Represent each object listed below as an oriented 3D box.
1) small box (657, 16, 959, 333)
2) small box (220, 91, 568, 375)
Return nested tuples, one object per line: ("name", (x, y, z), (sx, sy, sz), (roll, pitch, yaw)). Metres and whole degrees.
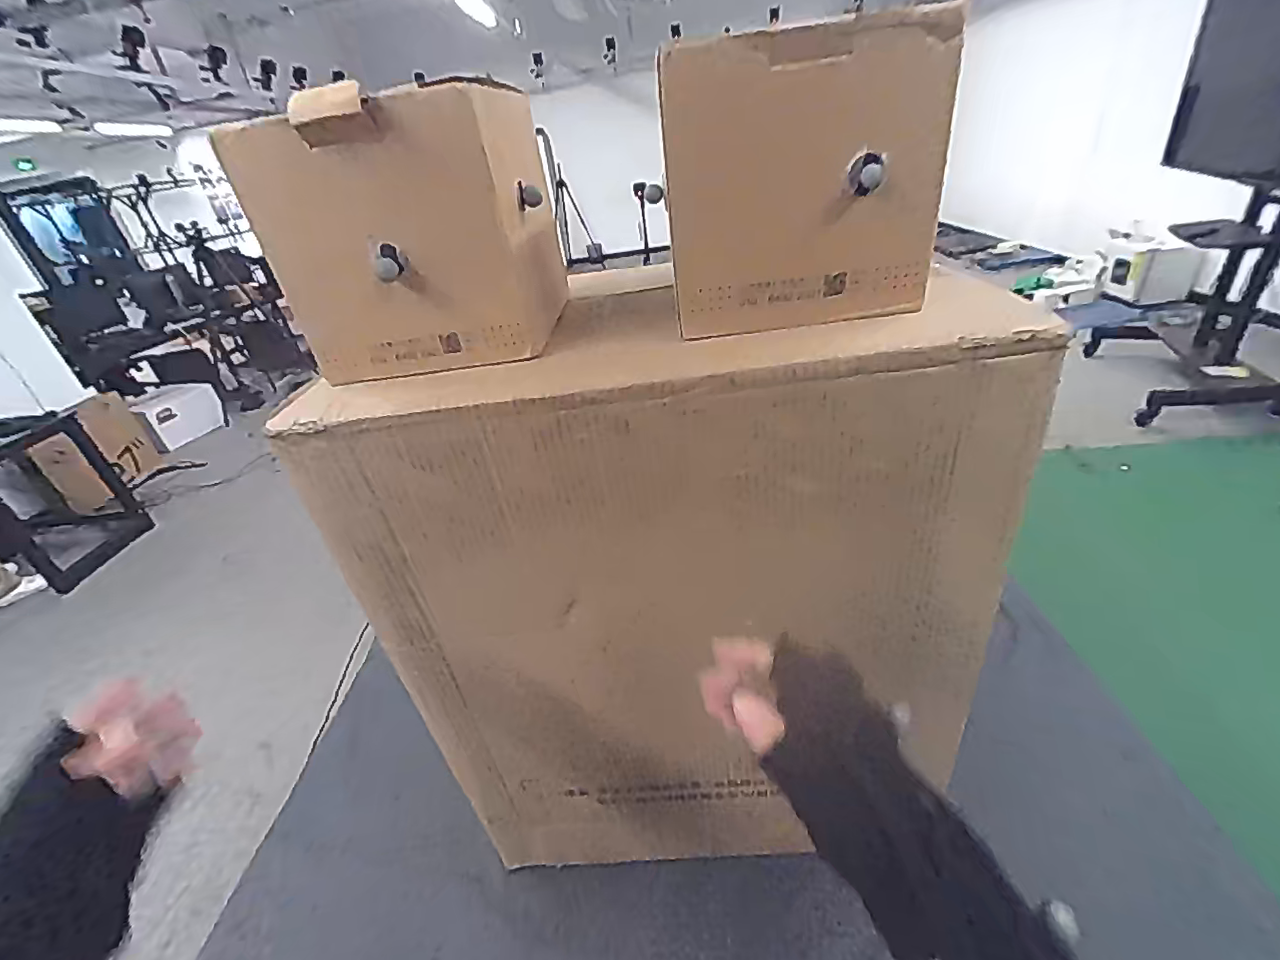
("small box", (0.102, -0.213, 0.405), (0.168, 0.176, 0.179), (-4, 32, 3))
("small box", (-0.160, -0.190, 0.429), (0.168, 0.176, 0.179), (-6, 34, 5))
